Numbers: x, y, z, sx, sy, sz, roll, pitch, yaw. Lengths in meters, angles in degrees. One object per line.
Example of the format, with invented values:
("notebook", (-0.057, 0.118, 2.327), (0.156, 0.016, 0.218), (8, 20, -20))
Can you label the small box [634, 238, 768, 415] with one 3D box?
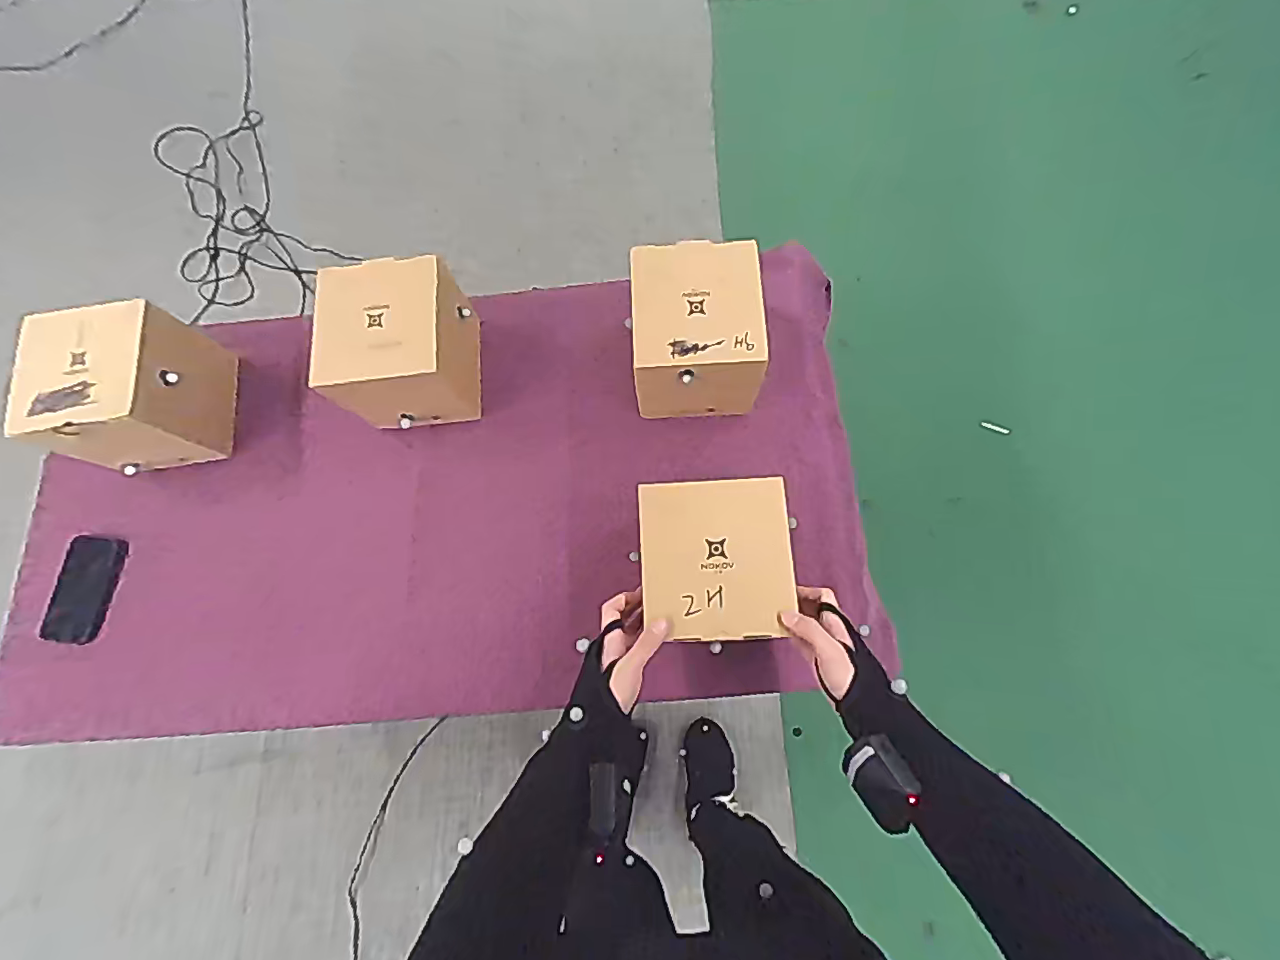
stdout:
("small box", (0.077, -0.205, 0.753), (0.168, 0.176, 0.179), (-2, 74, 3))

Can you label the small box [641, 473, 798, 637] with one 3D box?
("small box", (0.087, 0.100, 0.663), (0.168, 0.176, 0.179), (-3, 74, 4))

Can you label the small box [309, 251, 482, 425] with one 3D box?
("small box", (-0.334, -0.193, 0.772), (0.168, 0.176, 0.179), (-5, 75, 2))

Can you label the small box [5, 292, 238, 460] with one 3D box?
("small box", (-0.718, -0.135, 0.773), (0.168, 0.176, 0.179), (-8, 73, 0))
